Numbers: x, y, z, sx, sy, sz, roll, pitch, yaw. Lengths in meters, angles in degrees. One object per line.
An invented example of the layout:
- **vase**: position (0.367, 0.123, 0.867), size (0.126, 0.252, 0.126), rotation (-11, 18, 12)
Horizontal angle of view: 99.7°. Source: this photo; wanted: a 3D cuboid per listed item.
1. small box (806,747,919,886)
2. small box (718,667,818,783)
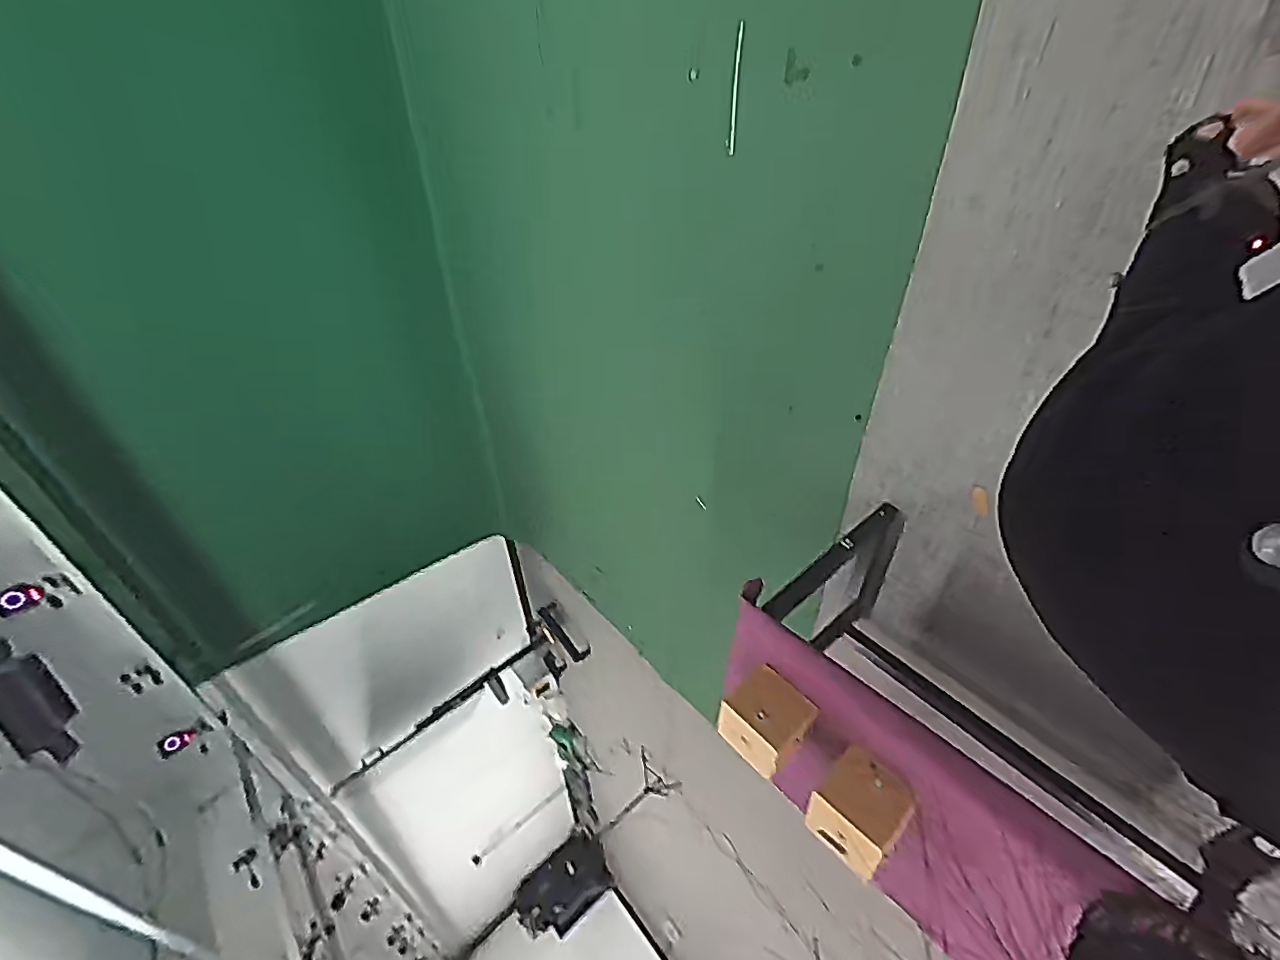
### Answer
- **small box**: position (0.505, 0.756, 1.229), size (0.168, 0.176, 0.179), rotation (31, 137, 40)
- **small box**: position (0.324, 0.616, 1.377), size (0.179, 0.176, 0.168), rotation (35, 141, 36)
